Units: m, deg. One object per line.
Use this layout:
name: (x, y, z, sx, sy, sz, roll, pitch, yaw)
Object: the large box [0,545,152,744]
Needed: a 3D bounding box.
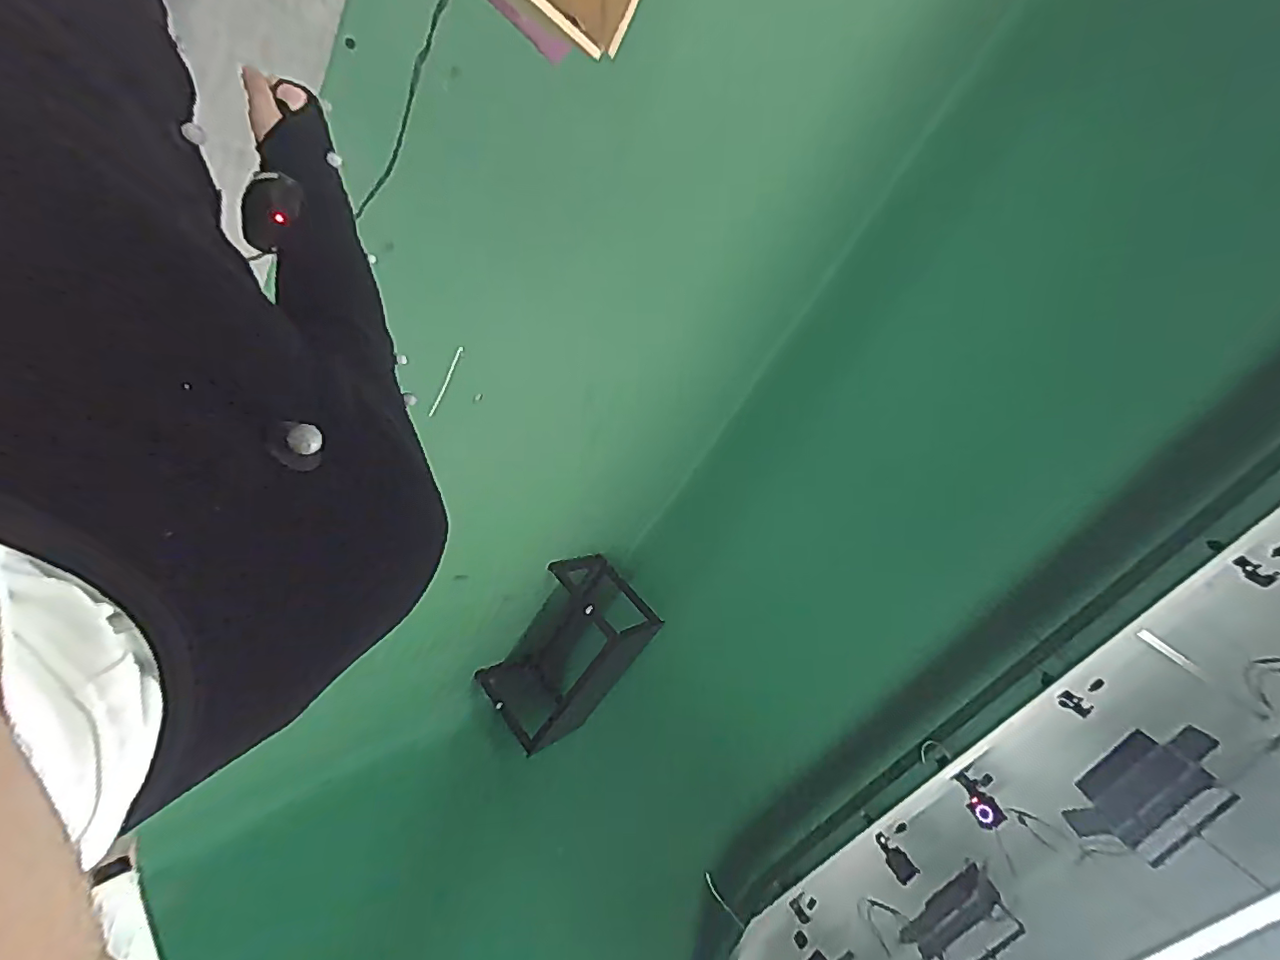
large box: (-1.716, 0.460, 1.501, 0.408, 0.320, 0.320, -32, 153, -30)
